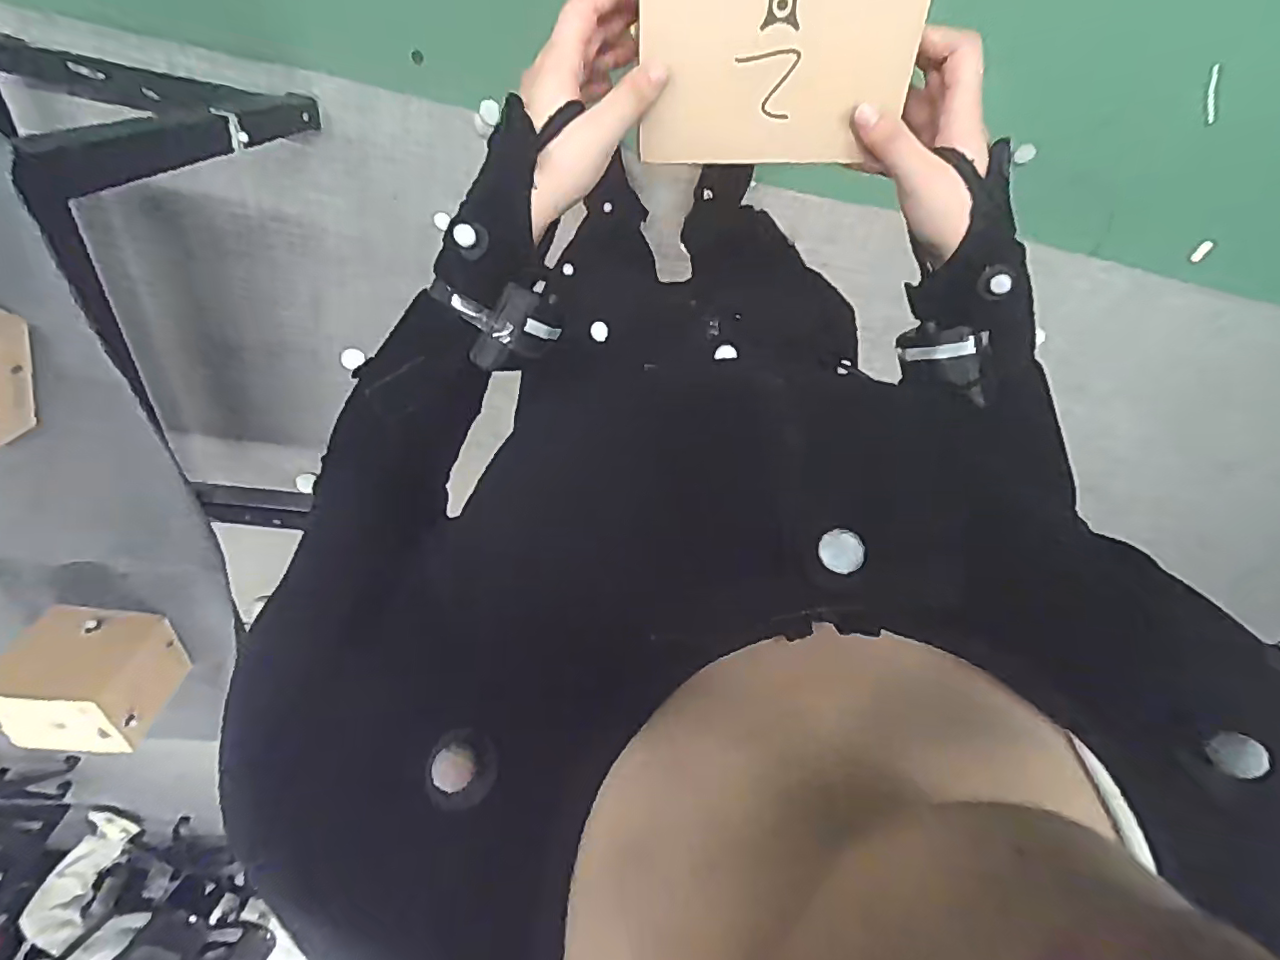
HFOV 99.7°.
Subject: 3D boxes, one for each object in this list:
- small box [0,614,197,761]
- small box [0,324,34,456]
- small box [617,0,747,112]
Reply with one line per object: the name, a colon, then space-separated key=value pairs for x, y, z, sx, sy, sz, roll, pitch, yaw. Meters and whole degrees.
small box: x=-0.918 y=0.349 z=0.919 sx=0.179 sy=0.176 sz=0.168 roll=8 pitch=128 yaw=-8
small box: x=-0.799 y=-0.096 z=0.563 sx=0.179 sy=0.176 sz=0.168 roll=26 pitch=123 yaw=-19
small box: x=0.074 y=-0.811 z=0.977 sx=0.168 sy=0.176 sz=0.179 roll=-28 pitch=124 yaw=18
